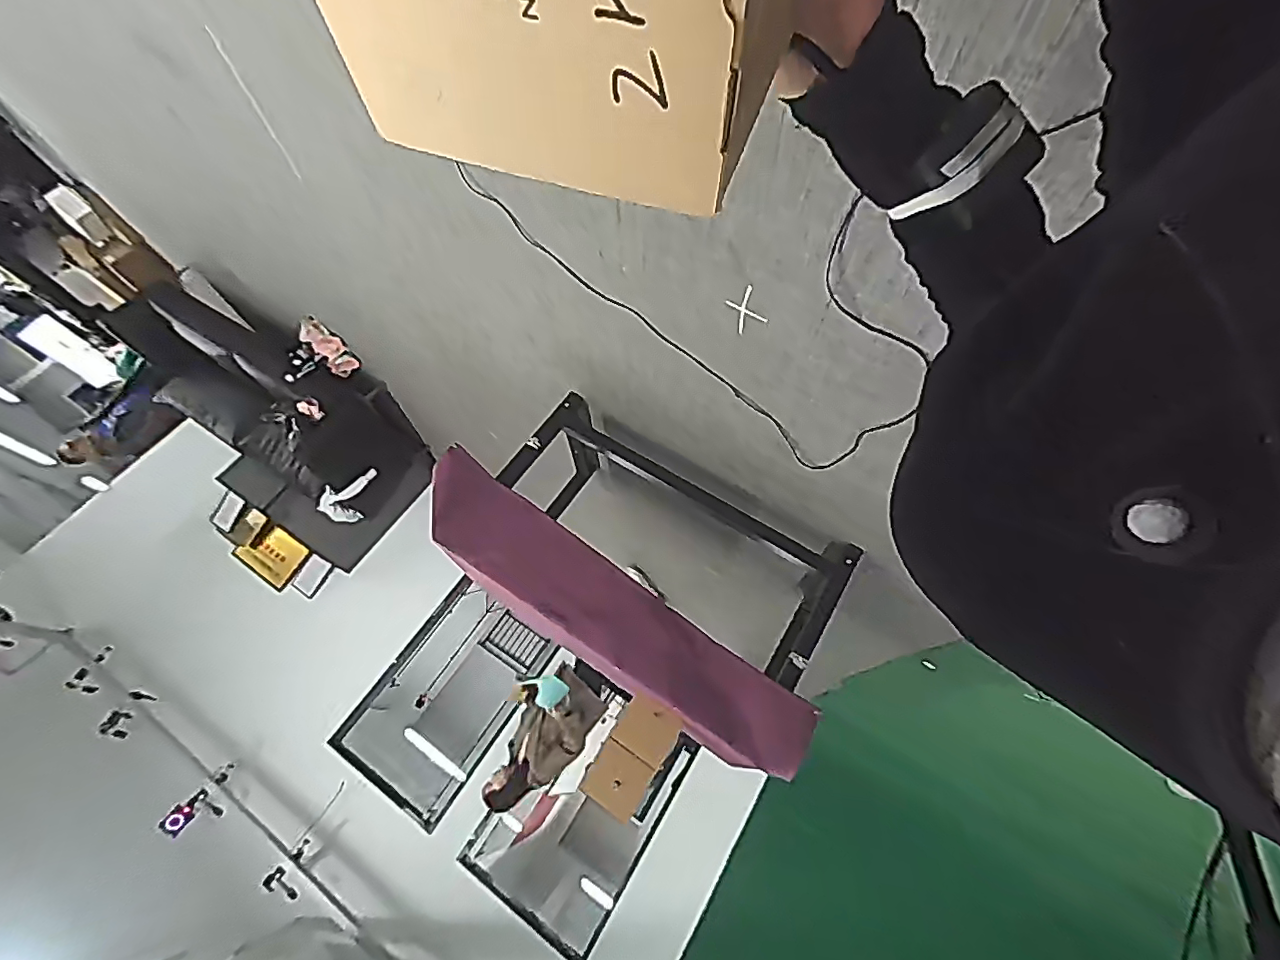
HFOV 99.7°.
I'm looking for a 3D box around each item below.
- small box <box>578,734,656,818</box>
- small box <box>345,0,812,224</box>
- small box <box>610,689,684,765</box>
[{"bbox_3d":[-0.067,0.921,1.699,0.179,0.176,0.168,29,157,17],"label":"small box"},{"bbox_3d":[-0.015,-0.249,0.224,0.179,0.176,0.168,18,159,8],"label":"small box"},{"bbox_3d":[0.025,0.798,1.759,0.179,0.176,0.168,30,158,18],"label":"small box"}]
